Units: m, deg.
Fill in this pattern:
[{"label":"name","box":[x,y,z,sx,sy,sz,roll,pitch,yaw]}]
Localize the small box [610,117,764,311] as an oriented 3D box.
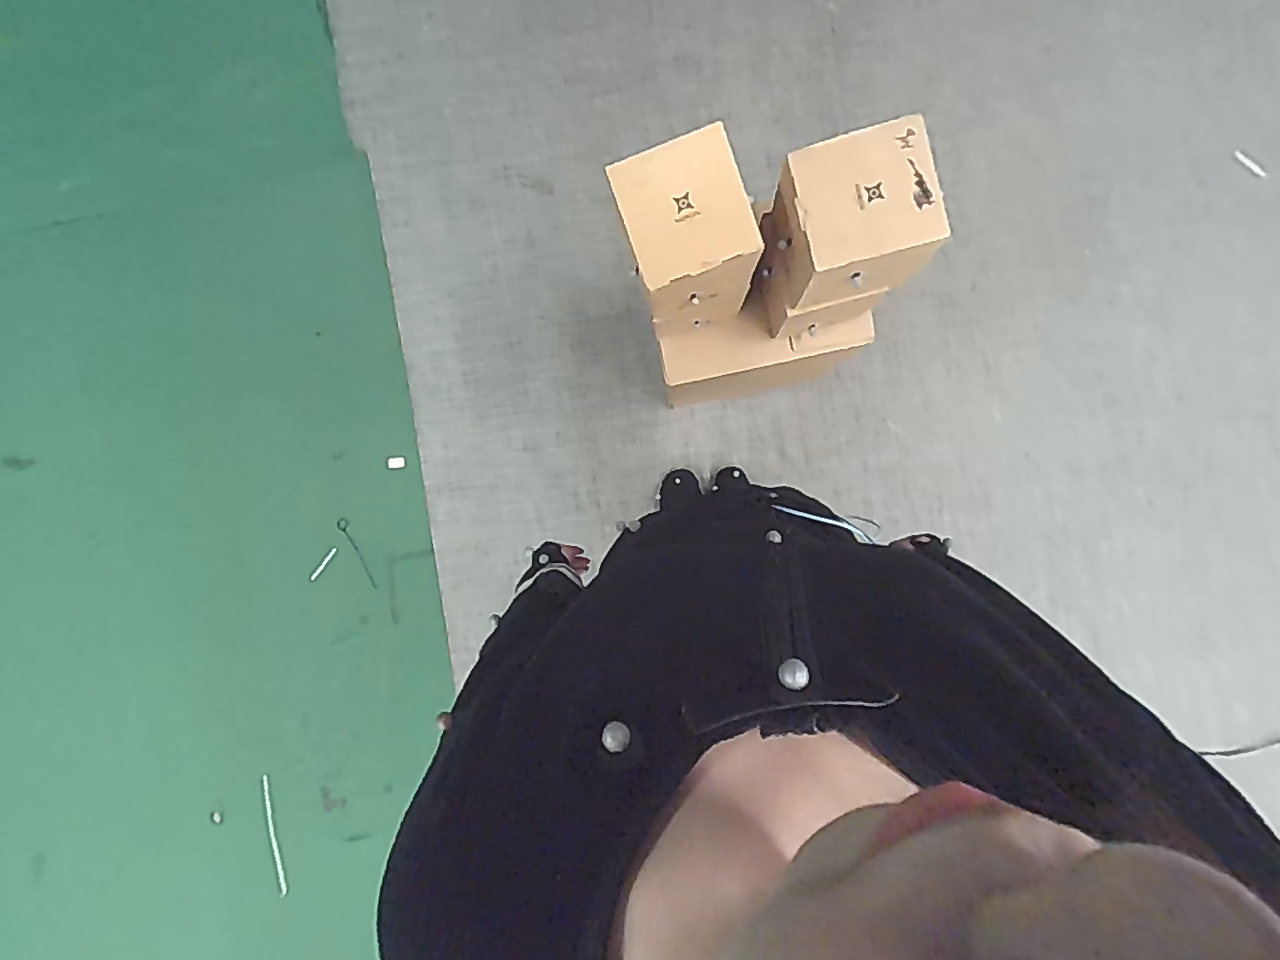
[{"label":"small box","box":[0.065,-0.376,0.796,0.168,0.176,0.179,-19,92,4]}]
